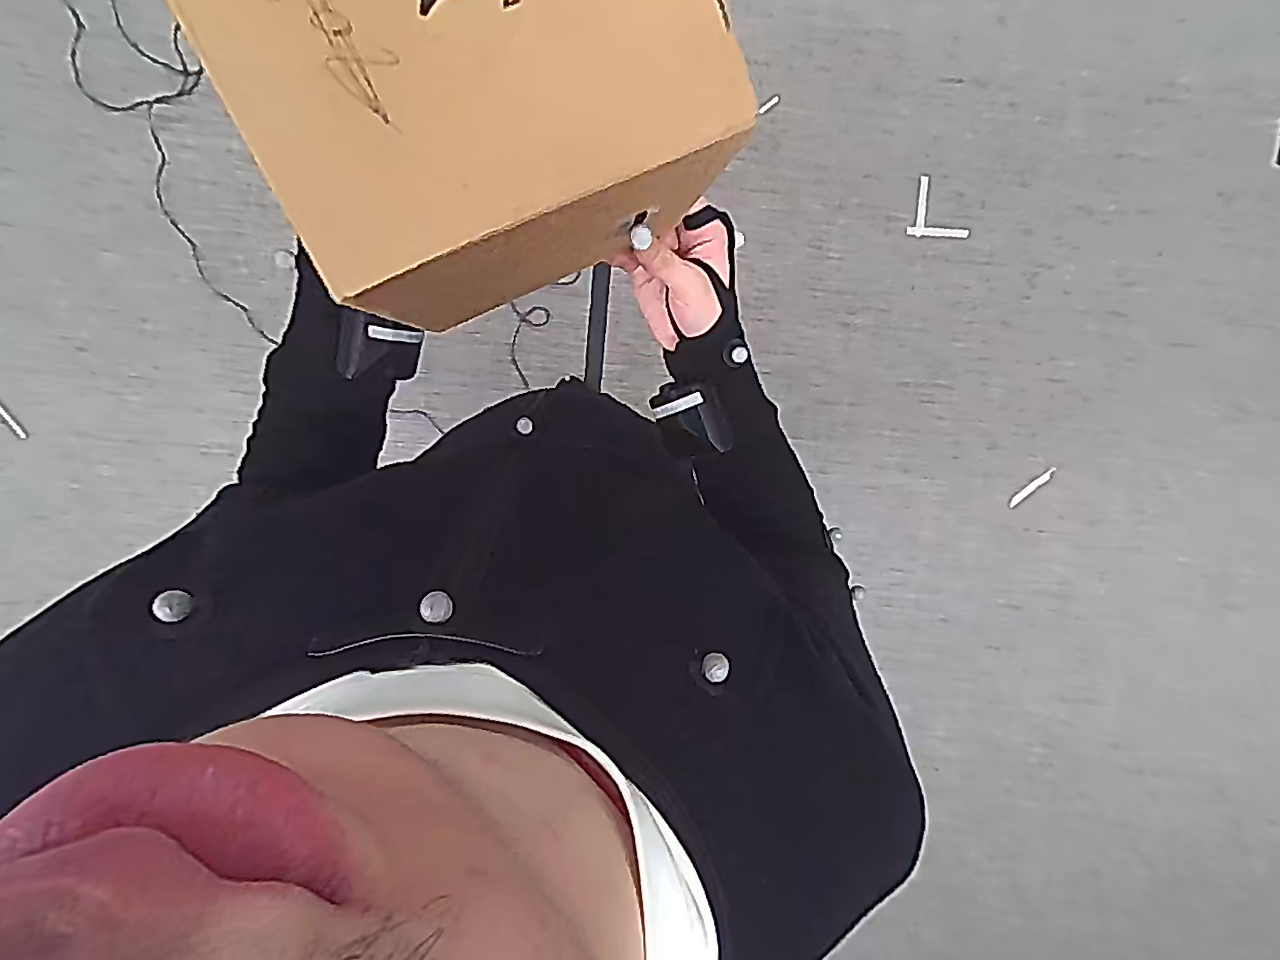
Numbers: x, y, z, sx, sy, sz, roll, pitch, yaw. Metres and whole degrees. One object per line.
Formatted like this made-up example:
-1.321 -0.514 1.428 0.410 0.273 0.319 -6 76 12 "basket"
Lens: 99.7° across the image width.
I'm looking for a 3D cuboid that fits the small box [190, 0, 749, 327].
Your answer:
-0.076 -0.192 0.271 0.179 0.176 0.168 -26 103 -3 "small box"
